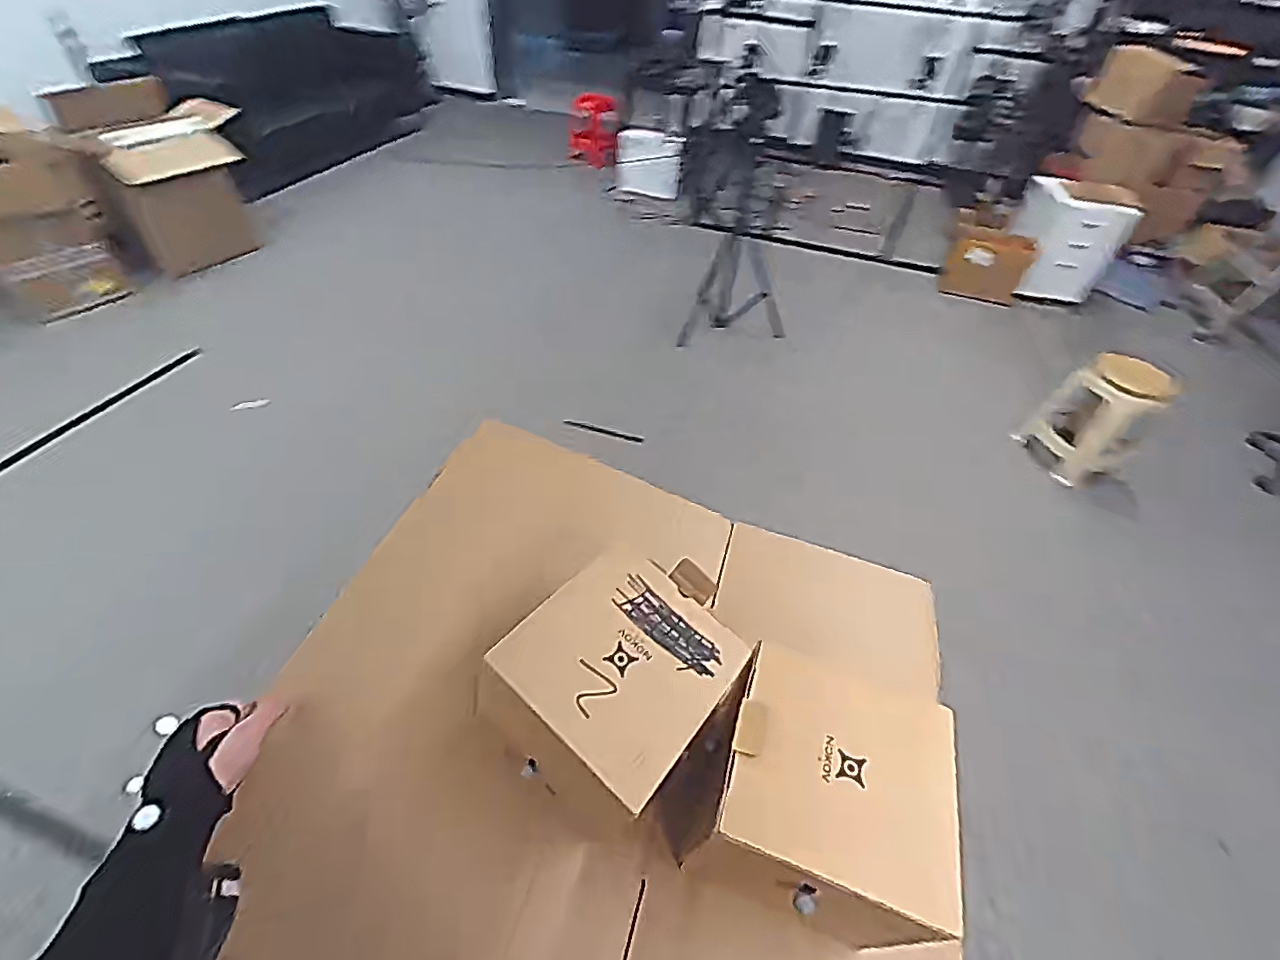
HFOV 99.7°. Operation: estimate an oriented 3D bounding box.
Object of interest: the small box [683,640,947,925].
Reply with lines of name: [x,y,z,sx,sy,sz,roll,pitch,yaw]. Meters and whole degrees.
small box: [0.153,0.284,0.505,0.179,0.176,0.168,17,47,8]
